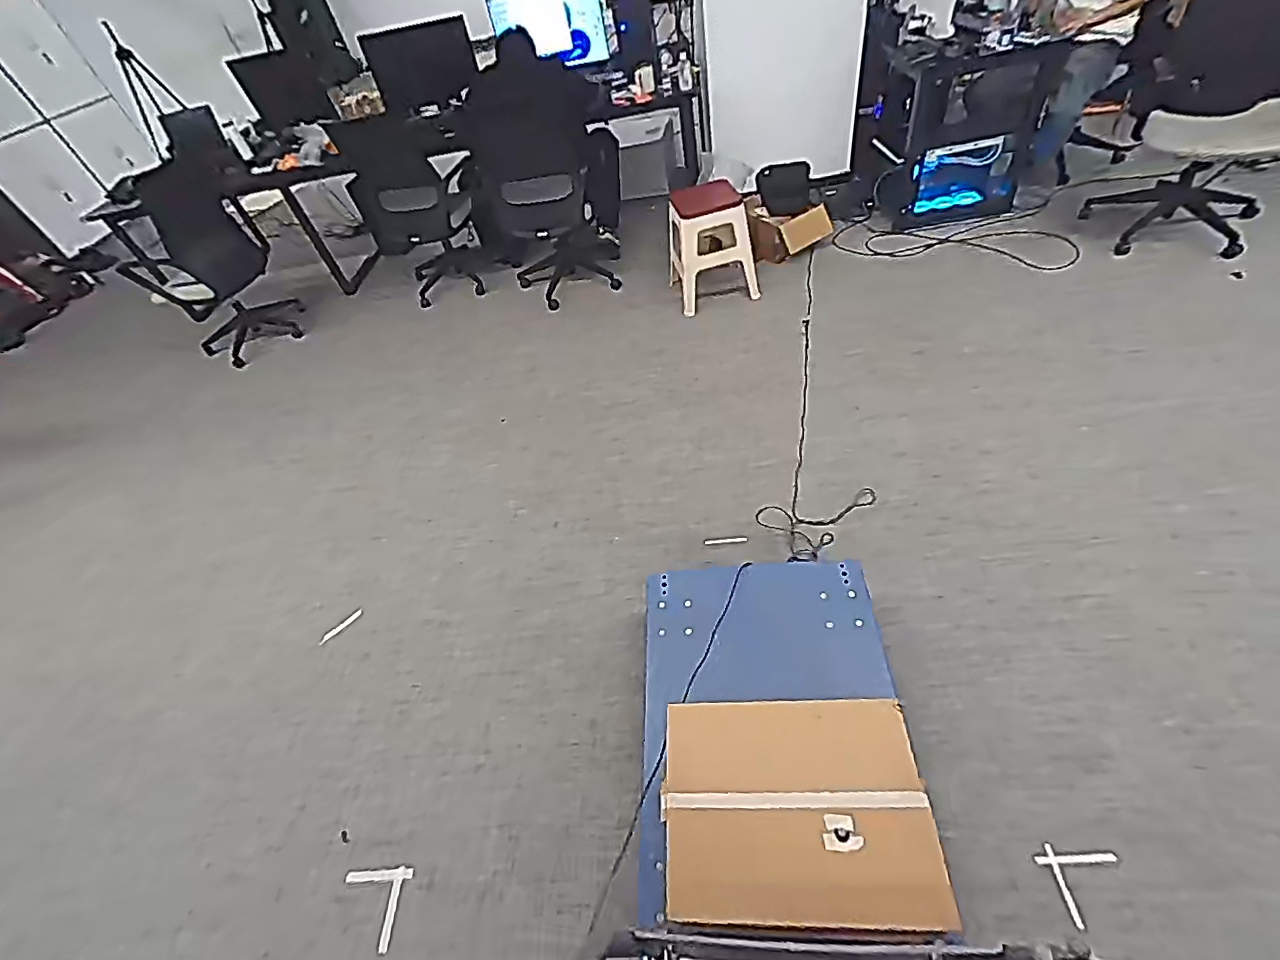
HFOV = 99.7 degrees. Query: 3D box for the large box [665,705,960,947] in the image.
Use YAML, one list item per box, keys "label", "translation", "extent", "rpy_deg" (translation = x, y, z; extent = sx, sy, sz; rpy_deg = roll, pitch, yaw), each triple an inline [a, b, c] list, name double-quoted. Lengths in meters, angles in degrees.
- label: "large box"
  translation: [0.260, 0.616, 0.954]
  extent: [0.408, 0.320, 0.320]
  rpy_deg: [-5, 48, 8]
